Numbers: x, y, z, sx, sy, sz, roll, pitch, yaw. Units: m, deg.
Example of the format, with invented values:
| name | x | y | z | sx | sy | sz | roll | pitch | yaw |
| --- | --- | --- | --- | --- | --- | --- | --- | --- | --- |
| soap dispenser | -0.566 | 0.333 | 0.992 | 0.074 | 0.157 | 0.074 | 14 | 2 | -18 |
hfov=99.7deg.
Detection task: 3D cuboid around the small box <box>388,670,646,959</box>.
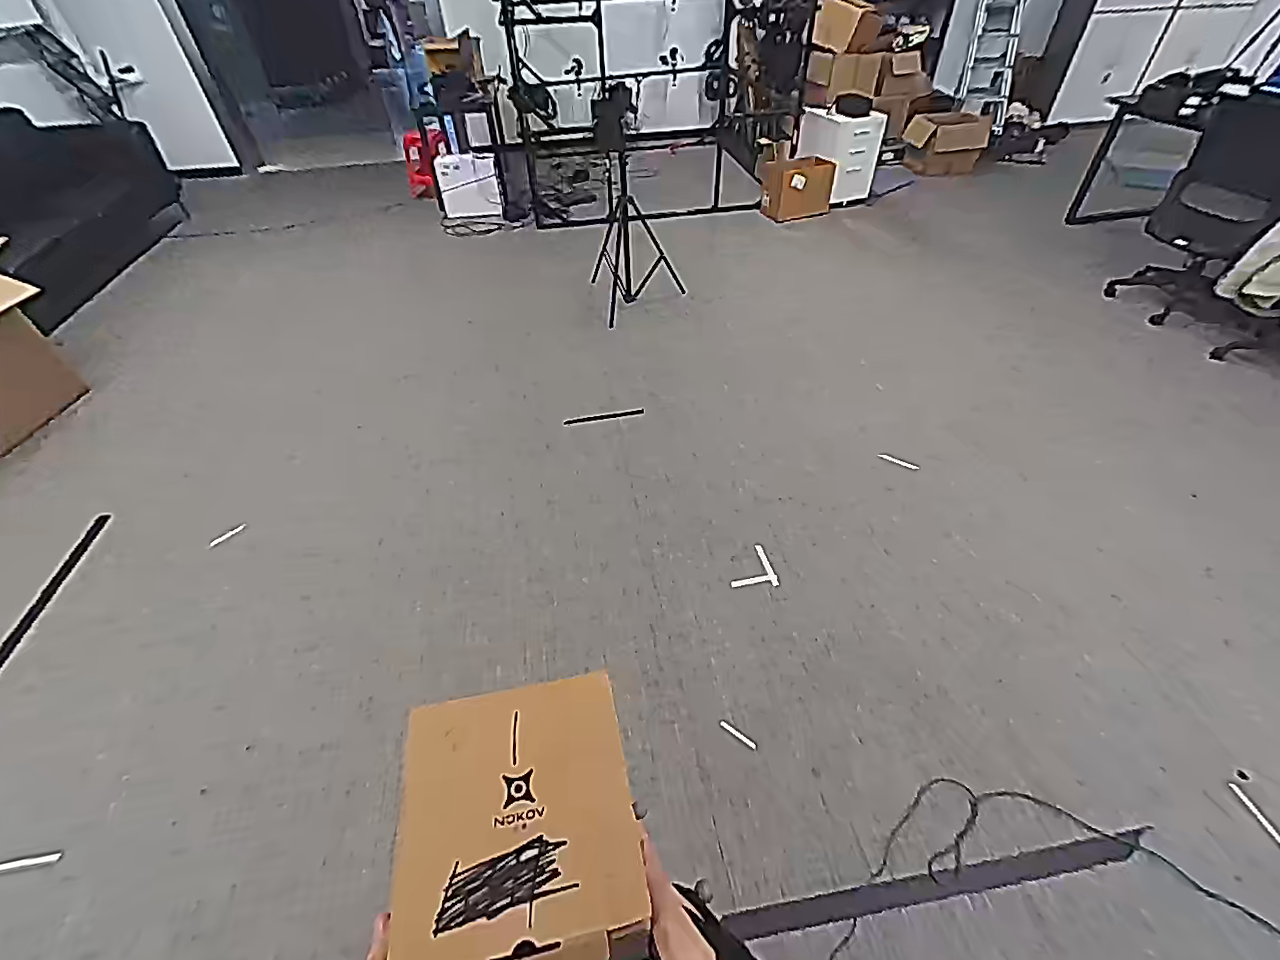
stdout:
| name | x | y | z | sx | sy | sz | roll | pitch | yaw |
| --- | --- | --- | --- | --- | --- | --- | --- | --- | --- |
| small box | -0.090 | 0.290 | 0.450 | 0.168 | 0.176 | 0.179 | -7 | 44 | -9 |
